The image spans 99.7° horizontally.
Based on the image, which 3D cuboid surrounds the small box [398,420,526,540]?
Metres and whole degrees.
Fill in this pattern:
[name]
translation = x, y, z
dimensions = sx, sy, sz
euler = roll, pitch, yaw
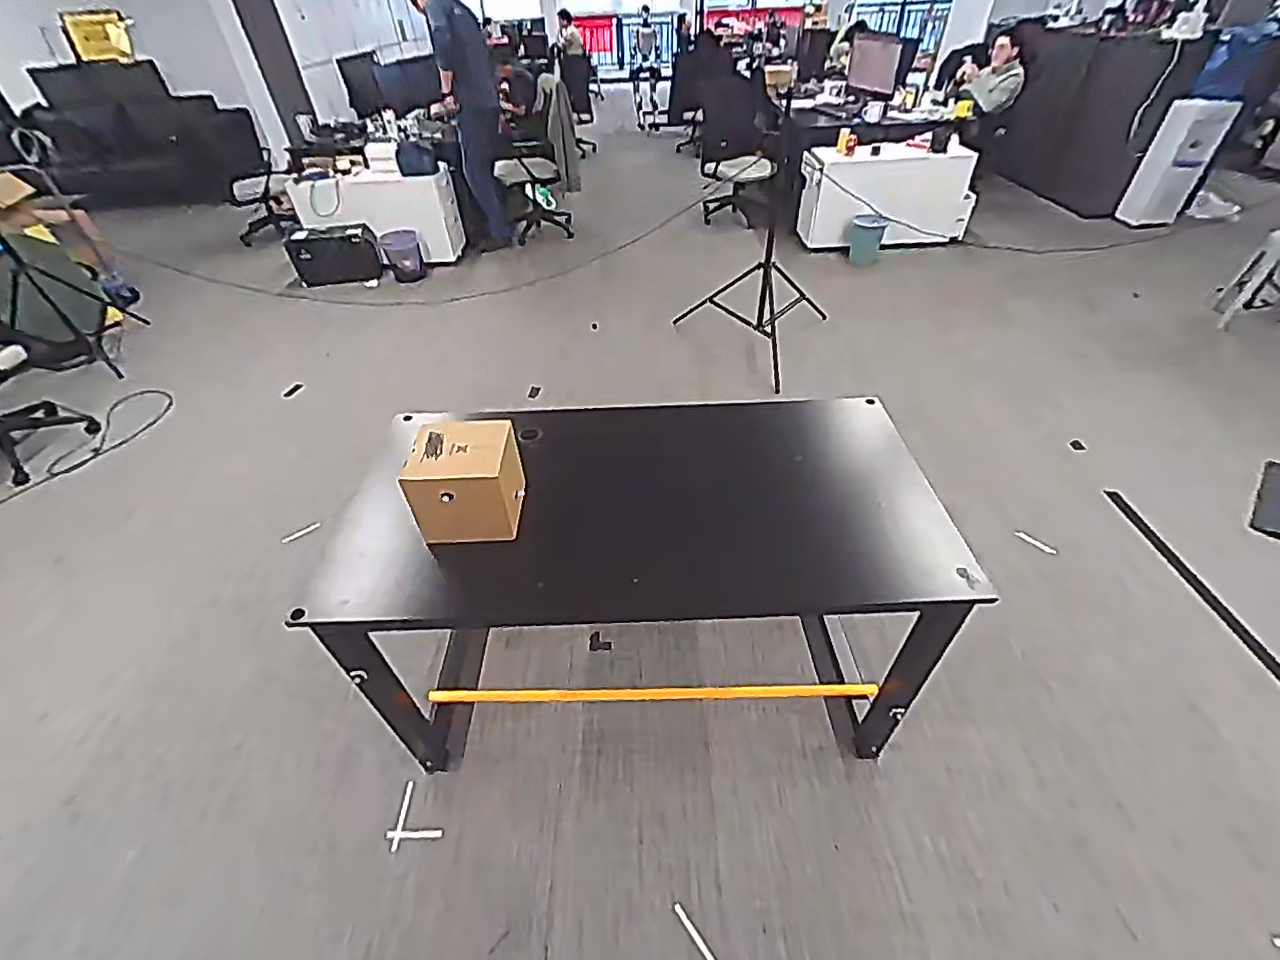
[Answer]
[small box]
translation = -0.329, 0.003, 1.039
dimensions = 0.179, 0.176, 0.168
euler = -2, 42, -1
